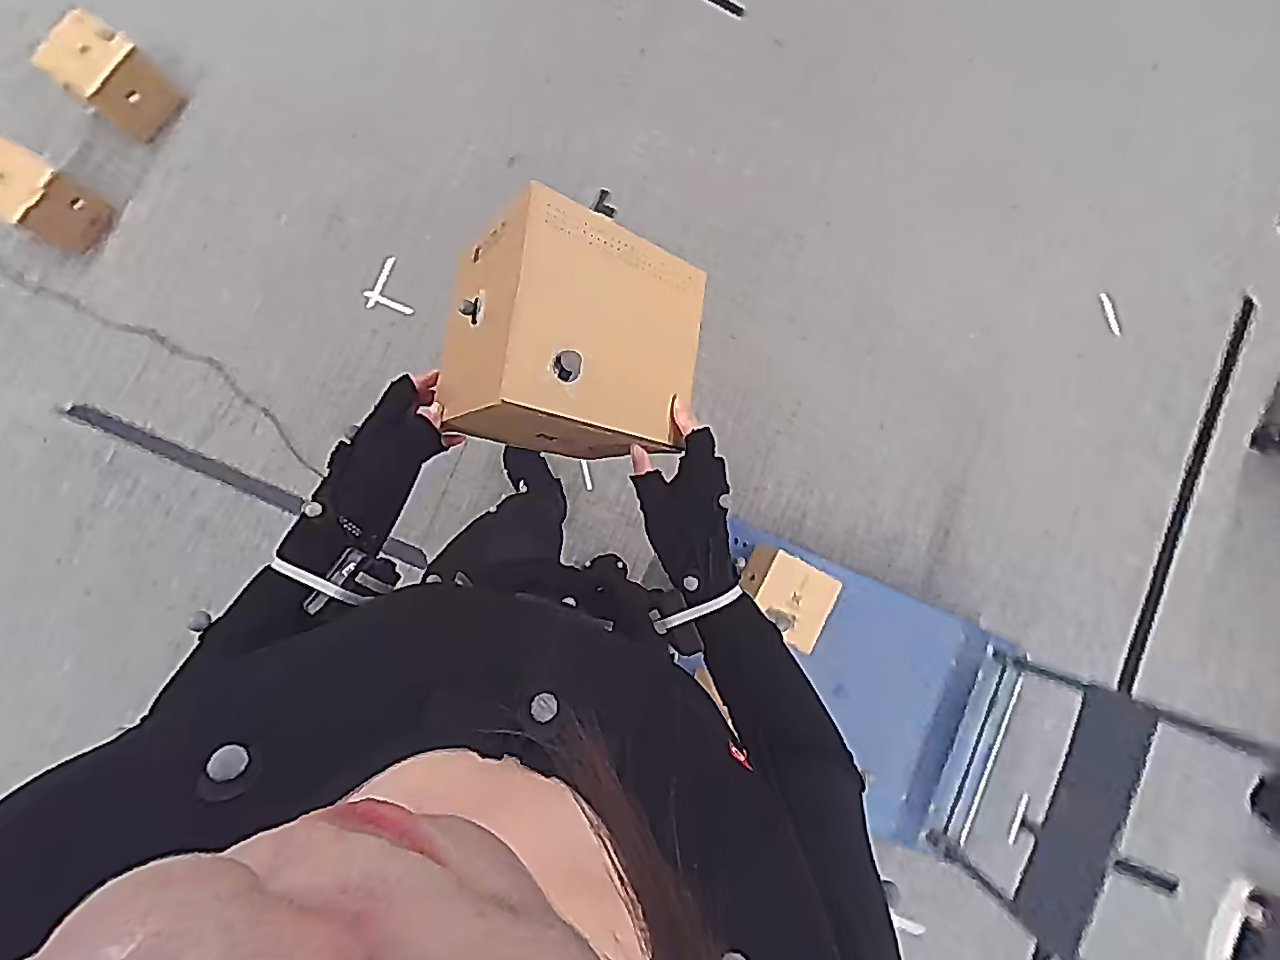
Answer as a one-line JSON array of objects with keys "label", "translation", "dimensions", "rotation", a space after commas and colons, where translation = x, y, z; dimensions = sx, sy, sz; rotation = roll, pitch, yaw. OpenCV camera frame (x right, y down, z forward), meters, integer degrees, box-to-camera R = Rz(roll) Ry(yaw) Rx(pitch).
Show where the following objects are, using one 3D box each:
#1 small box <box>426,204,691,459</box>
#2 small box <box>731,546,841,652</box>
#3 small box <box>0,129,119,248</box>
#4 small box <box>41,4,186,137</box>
[{"label": "small box", "translation": [-0.073, -0.120, 0.495], "dimensions": [0.179, 0.168, 0.176], "rotation": [10, 84, -37]}, {"label": "small box", "translation": [0.328, 0.269, 1.264], "dimensions": [0.168, 0.176, 0.179], "rotation": [29, 85, -3]}, {"label": "small box", "translation": [-1.487, -0.716, 1.353], "dimensions": [0.179, 0.176, 0.168], "rotation": [31, 85, -2]}, {"label": "small box", "translation": [-1.328, -1.031, 1.381], "dimensions": [0.168, 0.176, 0.179], "rotation": [33, 85, -2]}]
